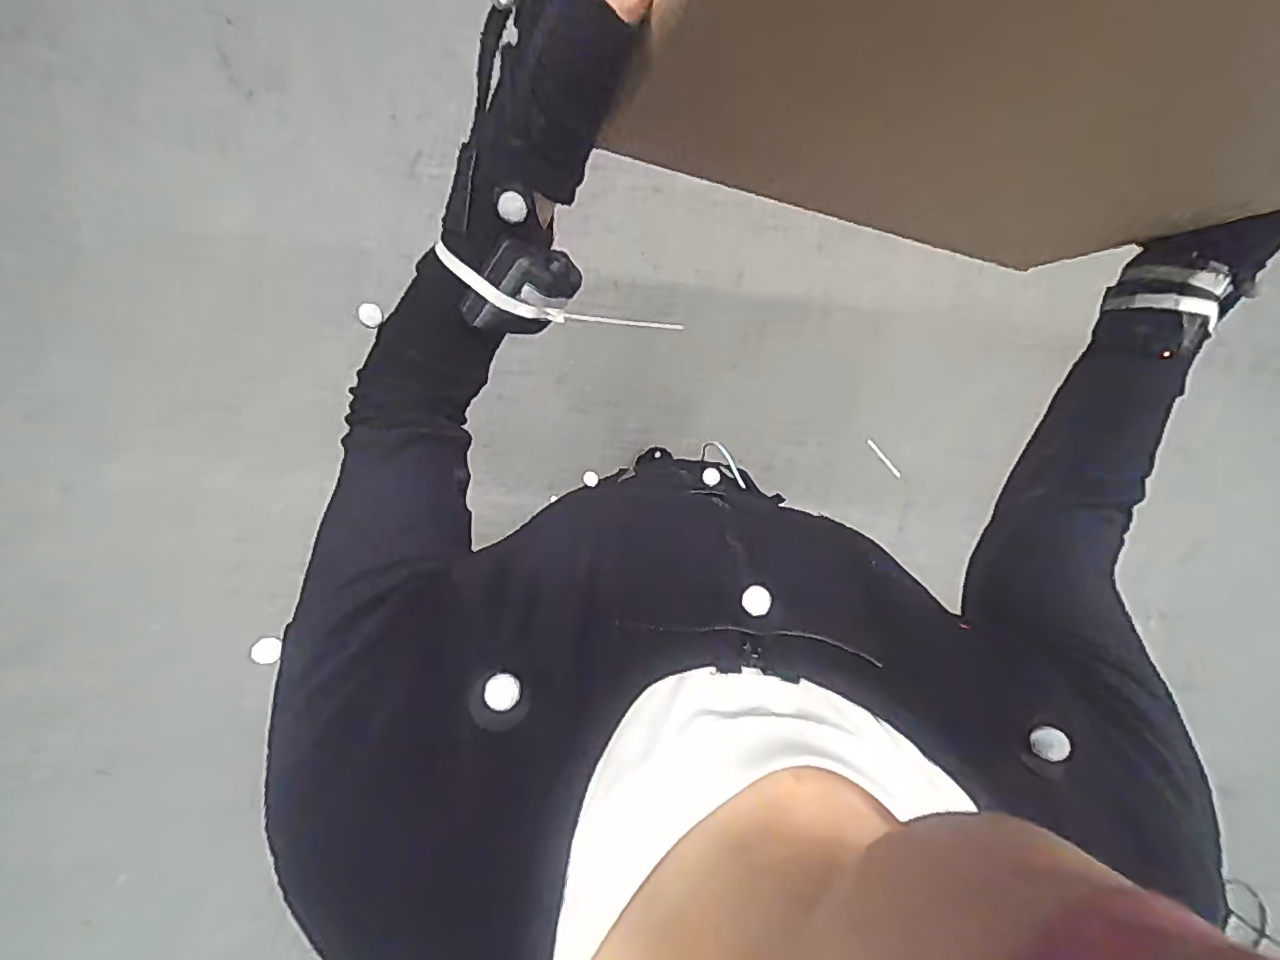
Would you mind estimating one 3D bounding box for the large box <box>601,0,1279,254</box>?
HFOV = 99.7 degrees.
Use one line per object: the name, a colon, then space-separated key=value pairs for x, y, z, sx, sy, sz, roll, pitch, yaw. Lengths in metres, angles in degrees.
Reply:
large box: x=0.220 y=-0.337 z=0.255 sx=0.408 sy=0.320 sz=0.320 roll=3 pitch=96 yaw=-23
